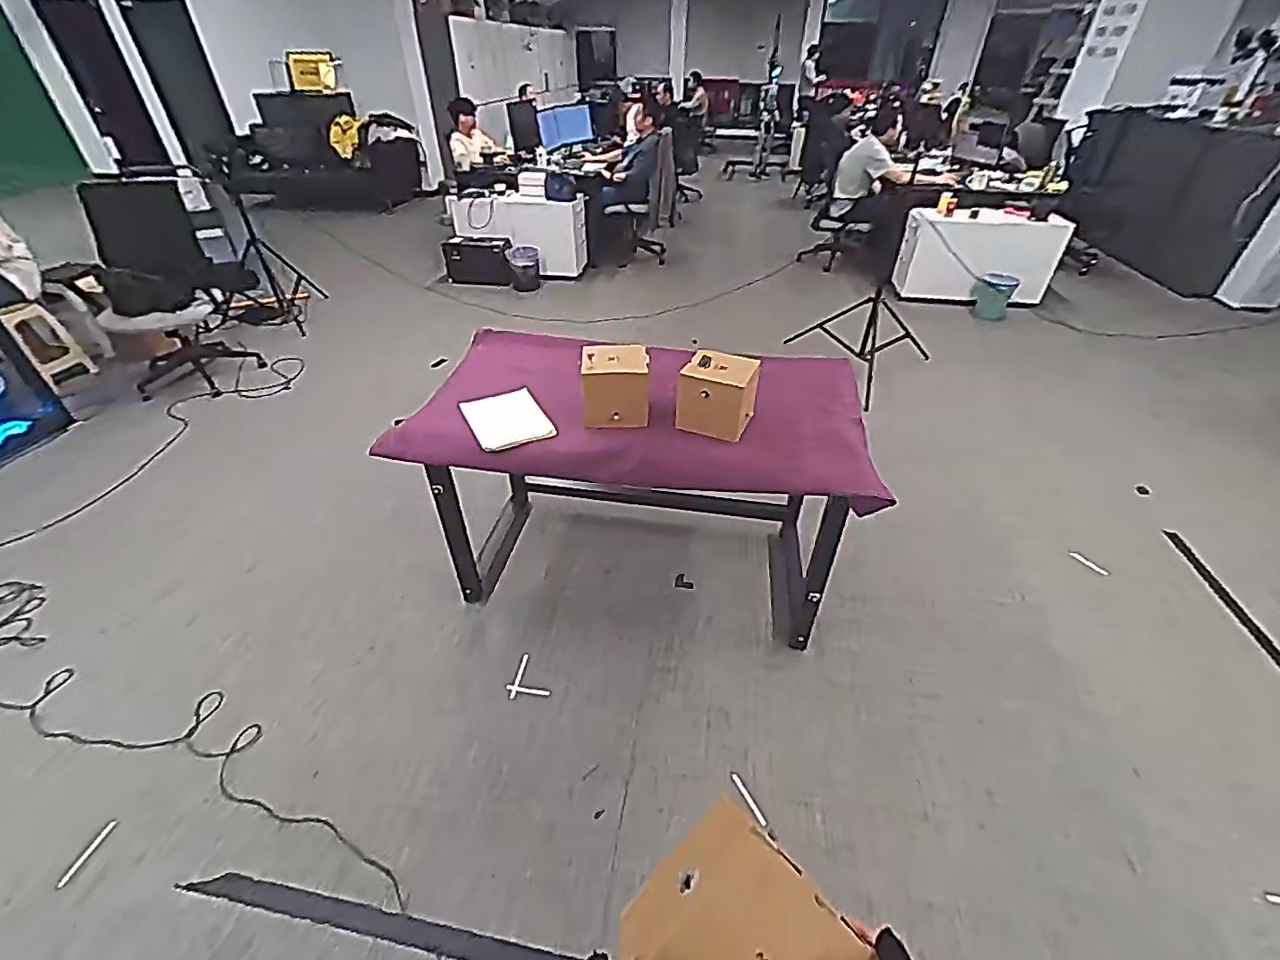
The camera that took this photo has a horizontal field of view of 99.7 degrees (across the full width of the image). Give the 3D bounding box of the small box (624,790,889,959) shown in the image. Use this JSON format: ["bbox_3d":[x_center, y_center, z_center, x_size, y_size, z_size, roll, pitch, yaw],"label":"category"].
[{"bbox_3d":[0.095,0.442,0.531,0.168,0.176,0.179,42,72,13],"label":"small box"}]

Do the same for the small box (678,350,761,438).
[{"bbox_3d":[0.210,-0.231,1.458,0.179,0.176,0.168,16,40,19],"label":"small box"}]

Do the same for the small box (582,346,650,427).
[{"bbox_3d":[-0.066,-0.257,1.494,0.179,0.176,0.168,-1,37,-2],"label":"small box"}]
